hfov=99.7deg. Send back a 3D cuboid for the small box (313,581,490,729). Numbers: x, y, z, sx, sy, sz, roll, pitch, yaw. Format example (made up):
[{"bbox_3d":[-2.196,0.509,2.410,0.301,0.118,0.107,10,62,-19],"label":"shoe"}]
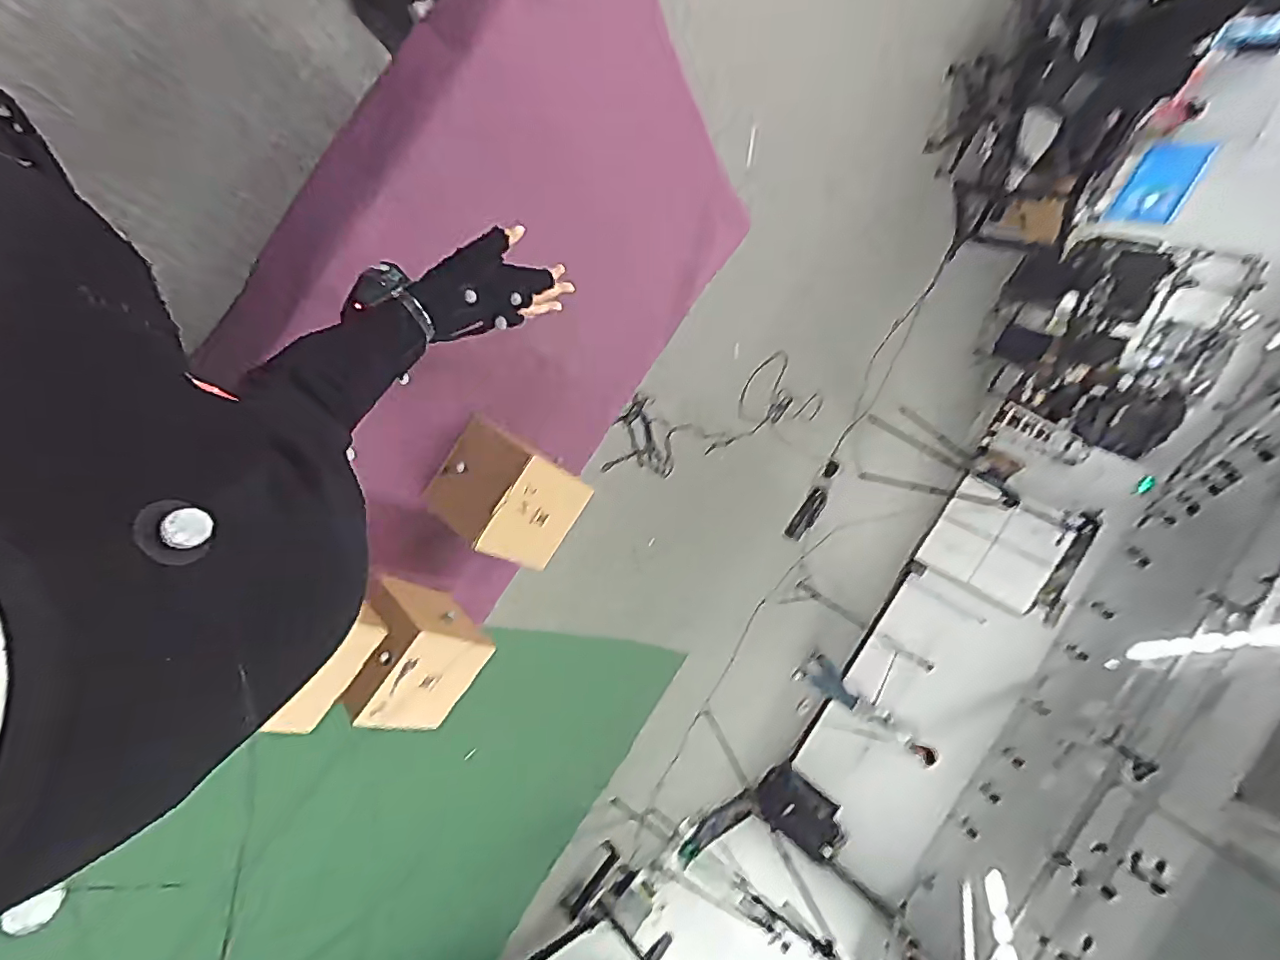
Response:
[{"bbox_3d":[-0.398,0.292,0.909,0.168,0.176,0.179,-55,147,-7],"label":"small box"}]

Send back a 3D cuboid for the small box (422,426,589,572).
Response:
[{"bbox_3d":[-0.227,0.030,0.921,0.168,0.176,0.179,-57,146,-3],"label":"small box"}]
